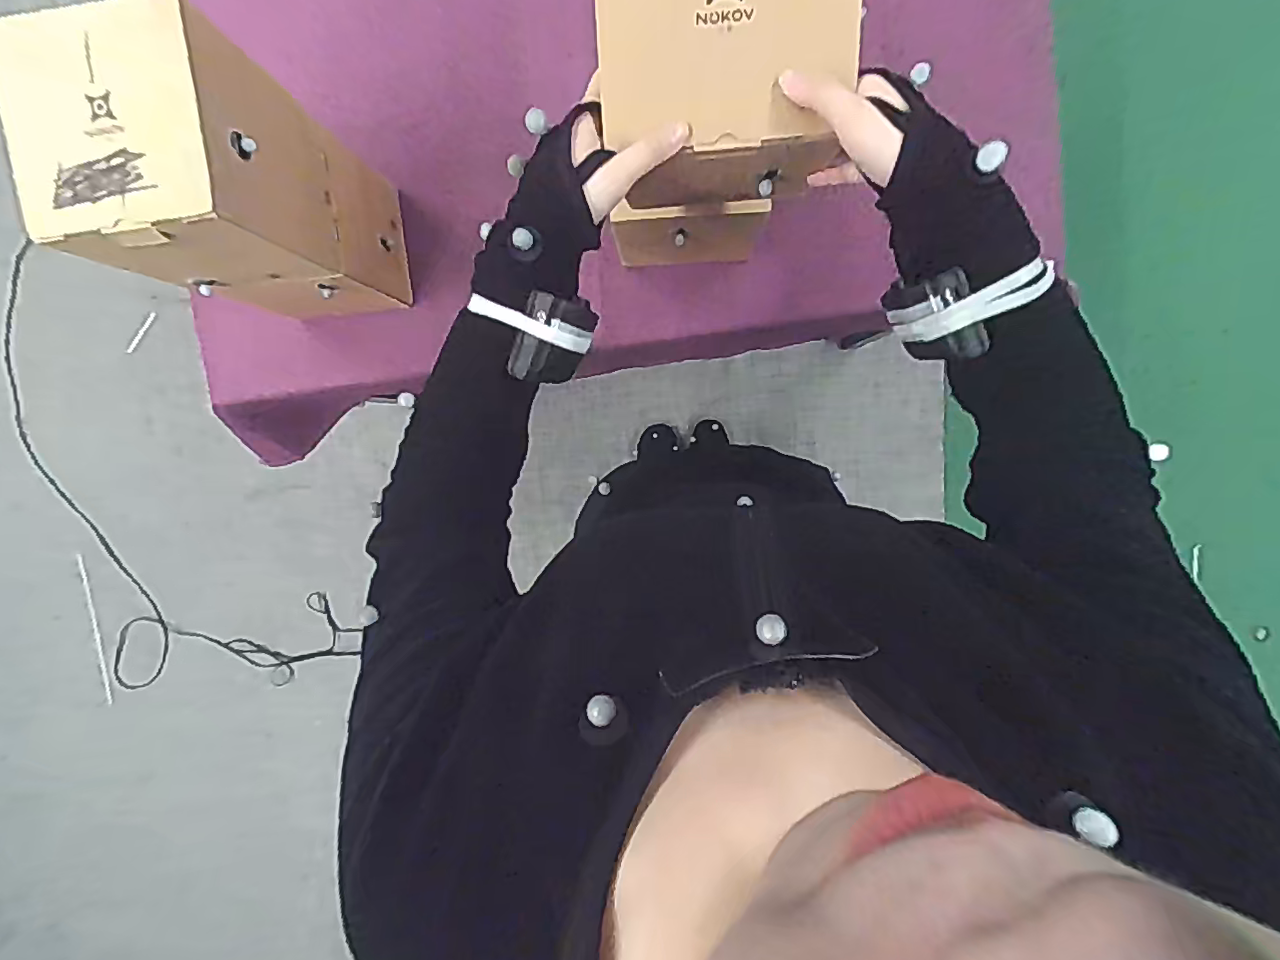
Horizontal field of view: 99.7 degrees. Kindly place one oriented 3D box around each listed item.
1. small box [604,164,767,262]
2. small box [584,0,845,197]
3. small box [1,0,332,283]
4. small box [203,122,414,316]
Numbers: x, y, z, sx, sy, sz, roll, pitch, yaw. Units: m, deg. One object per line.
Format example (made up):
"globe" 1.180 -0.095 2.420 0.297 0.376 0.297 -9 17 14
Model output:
"small box" 0.054 -0.372 0.651 0.179 0.176 0.168 -1 96 4
"small box" 0.054 -0.328 0.413 0.168 0.176 0.179 -1 105 6
"small box" -0.432 -0.303 0.527 0.168 0.176 0.179 -6 94 4
"small box" -0.420 -0.316 0.691 0.179 0.176 0.168 -6 95 4
